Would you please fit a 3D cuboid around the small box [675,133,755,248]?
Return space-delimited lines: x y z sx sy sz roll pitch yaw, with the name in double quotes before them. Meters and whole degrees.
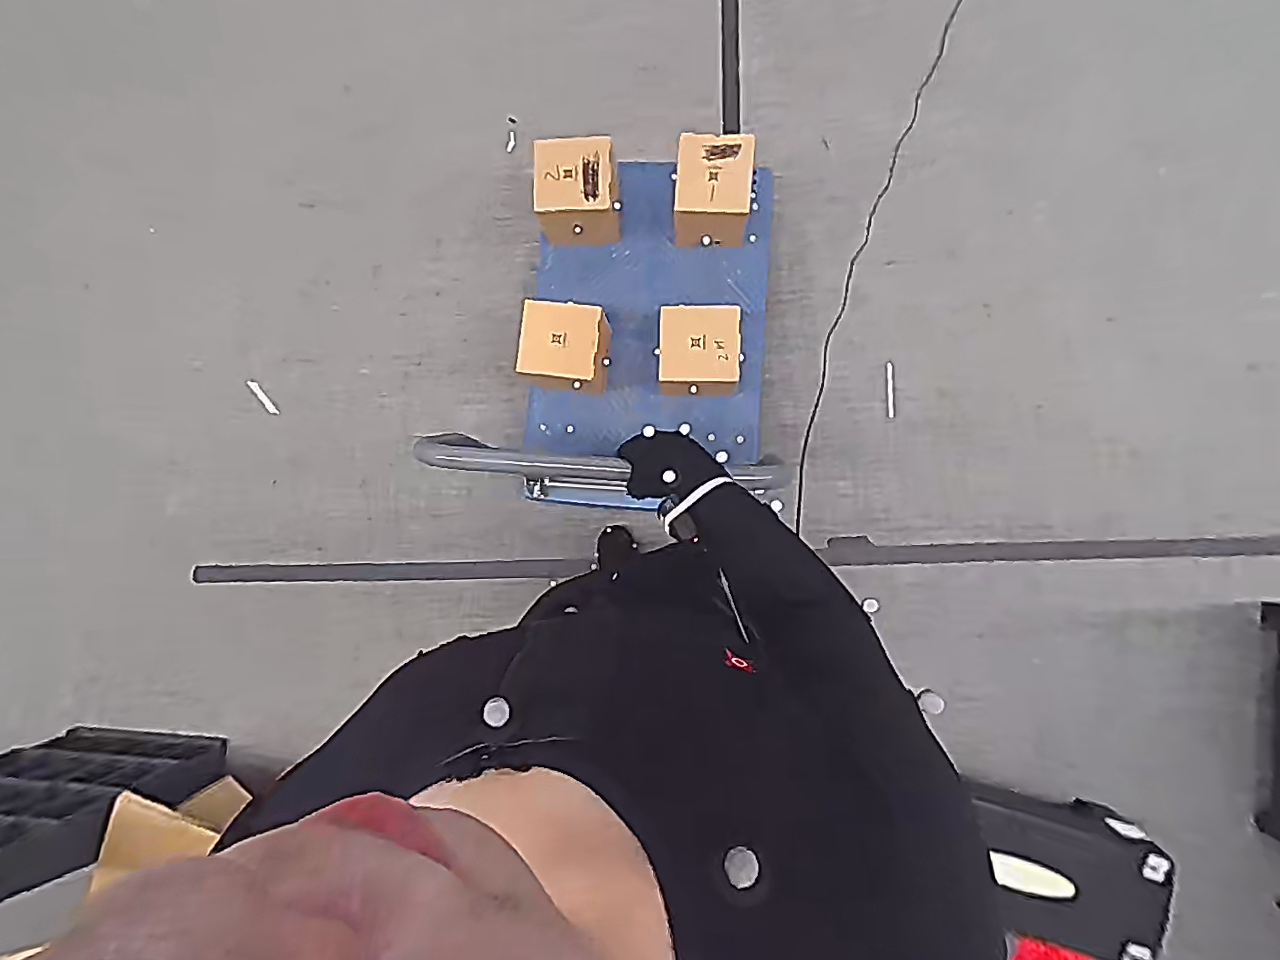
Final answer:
"small box" 0.169 -0.666 1.256 0.168 0.176 0.179 4 89 5

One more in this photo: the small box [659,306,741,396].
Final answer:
"small box" 0.137 -0.291 1.245 0.179 0.176 0.168 1 88 5

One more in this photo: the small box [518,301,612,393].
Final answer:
"small box" -0.171 -0.306 1.272 0.179 0.176 0.168 6 89 4
